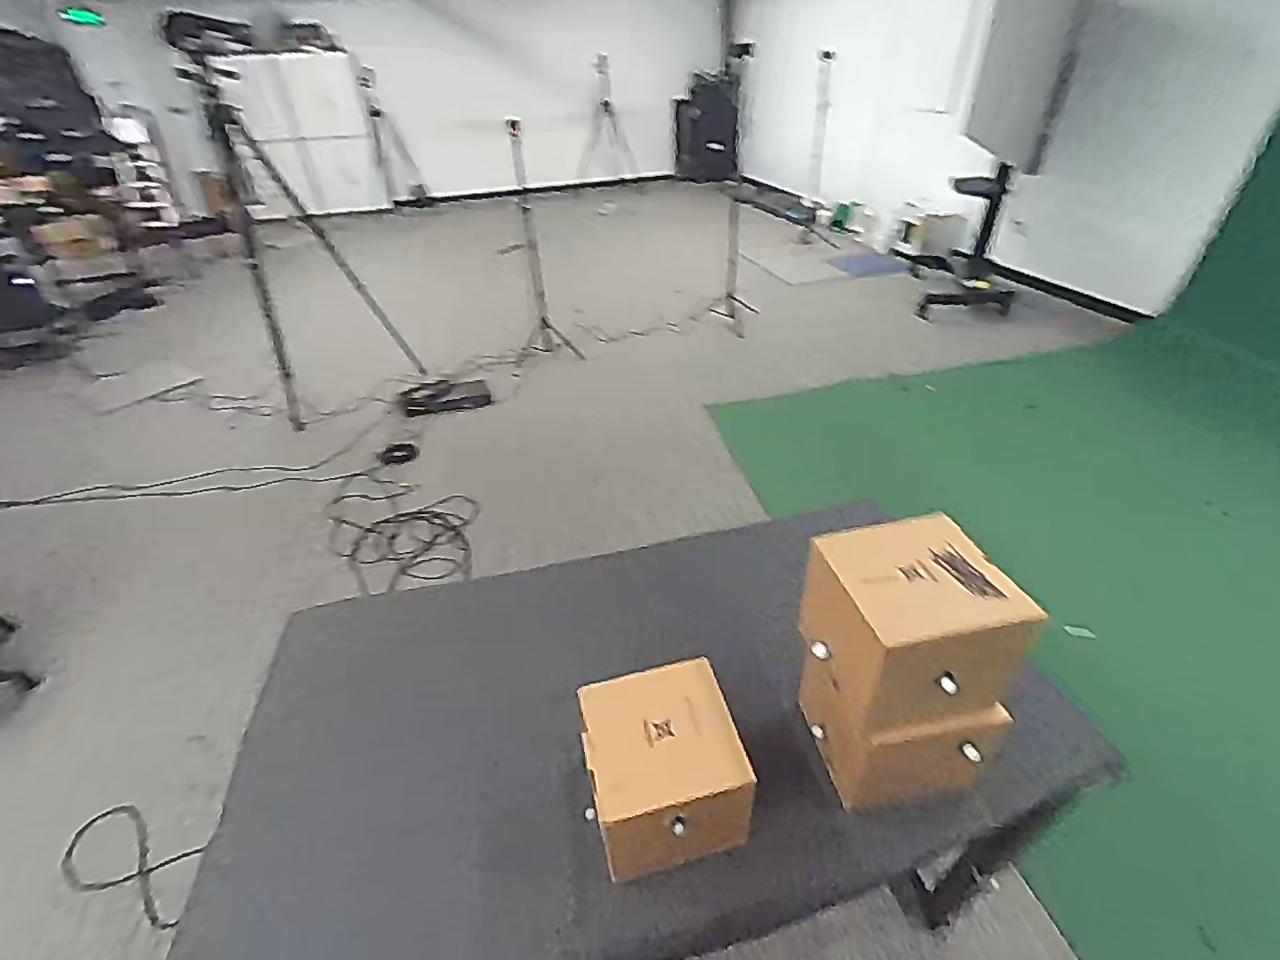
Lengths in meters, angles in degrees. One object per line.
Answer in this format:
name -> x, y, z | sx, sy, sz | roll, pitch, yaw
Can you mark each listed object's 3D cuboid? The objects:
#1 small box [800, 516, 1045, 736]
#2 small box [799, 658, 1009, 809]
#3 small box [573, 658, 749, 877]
small box -> 0.306, 0.168, 0.631 | 0.179, 0.176, 0.168 | -9, 36, -5
small box -> 0.330, 0.305, 0.719 | 0.179, 0.176, 0.168 | -7, 35, -5
small box -> 0.022, 0.358, 0.677 | 0.179, 0.176, 0.168 | -10, 37, -10
